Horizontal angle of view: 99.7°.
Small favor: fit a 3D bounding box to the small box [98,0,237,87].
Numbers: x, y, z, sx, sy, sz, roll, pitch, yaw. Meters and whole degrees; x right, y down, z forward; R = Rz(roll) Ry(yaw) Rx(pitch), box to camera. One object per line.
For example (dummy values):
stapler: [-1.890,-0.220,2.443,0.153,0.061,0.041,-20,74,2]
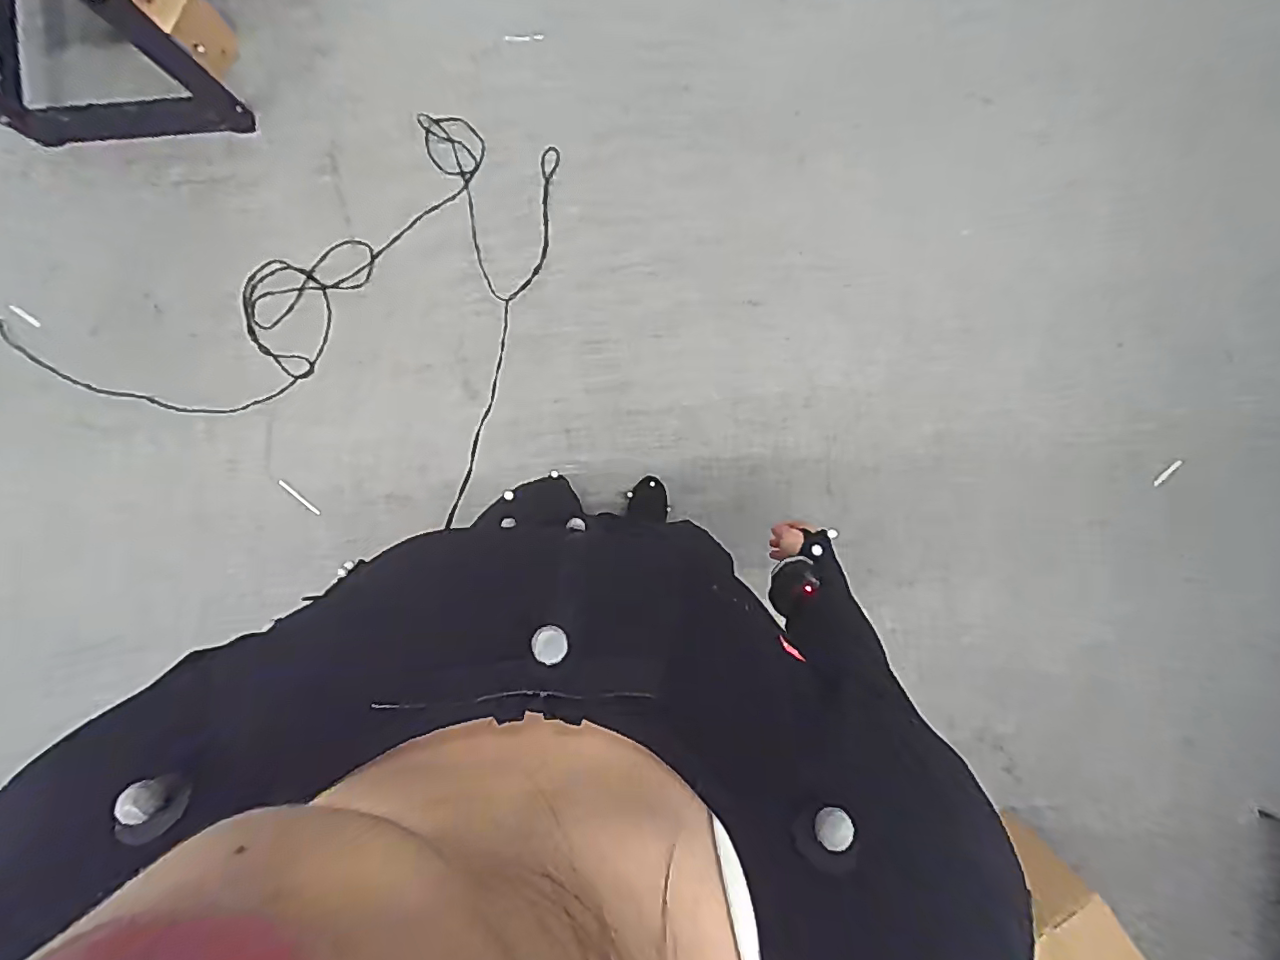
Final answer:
small box: [-1.186,-1.154,1.373,0.179,0.176,0.168,29,91,-1]
